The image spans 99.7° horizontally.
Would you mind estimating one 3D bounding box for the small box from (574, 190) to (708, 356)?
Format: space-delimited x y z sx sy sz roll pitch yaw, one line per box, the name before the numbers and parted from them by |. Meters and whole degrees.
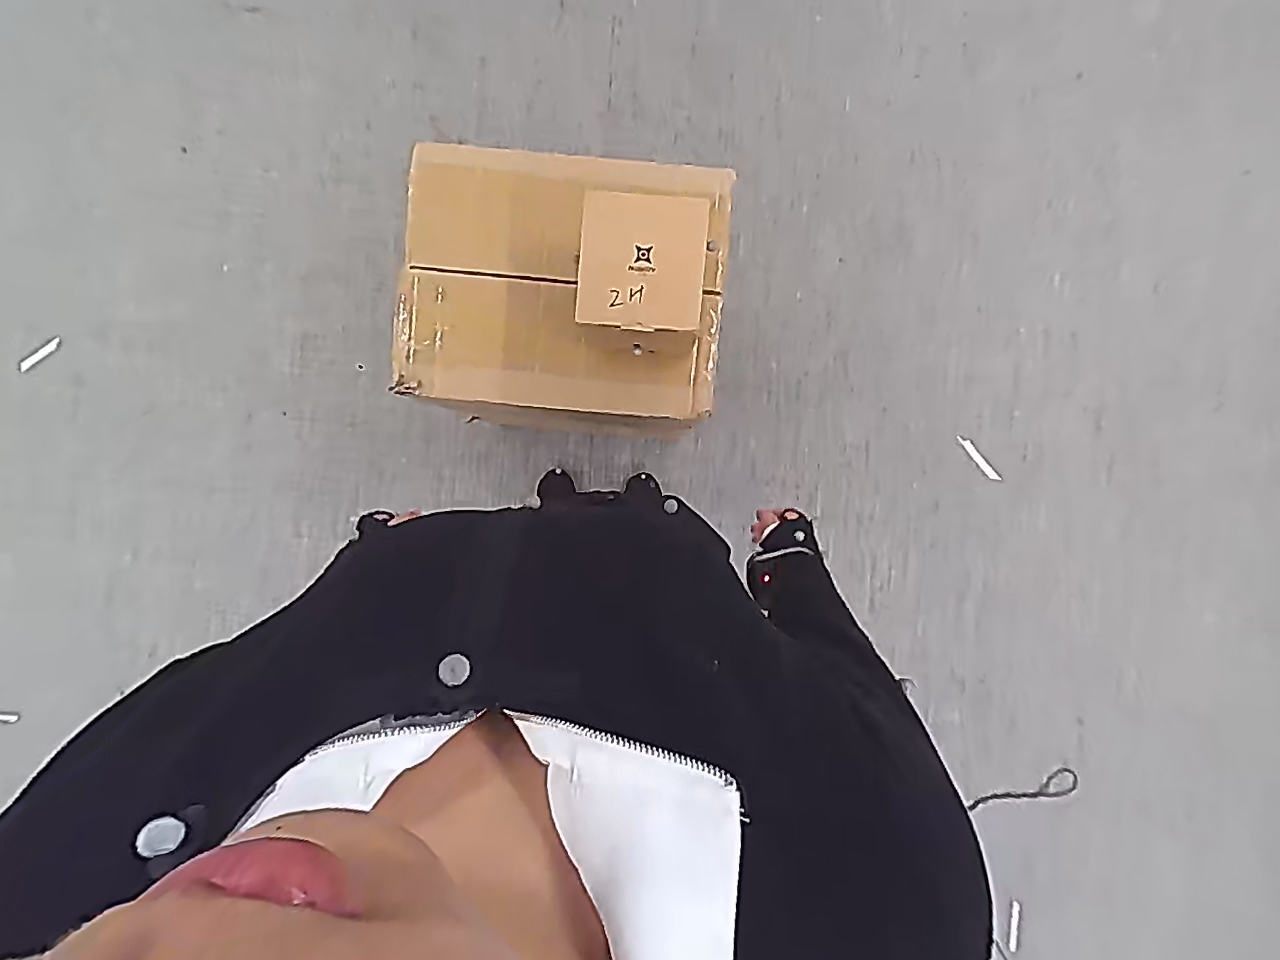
small box | 0.002 -0.289 0.787 0.168 0.176 0.179 4 92 1
